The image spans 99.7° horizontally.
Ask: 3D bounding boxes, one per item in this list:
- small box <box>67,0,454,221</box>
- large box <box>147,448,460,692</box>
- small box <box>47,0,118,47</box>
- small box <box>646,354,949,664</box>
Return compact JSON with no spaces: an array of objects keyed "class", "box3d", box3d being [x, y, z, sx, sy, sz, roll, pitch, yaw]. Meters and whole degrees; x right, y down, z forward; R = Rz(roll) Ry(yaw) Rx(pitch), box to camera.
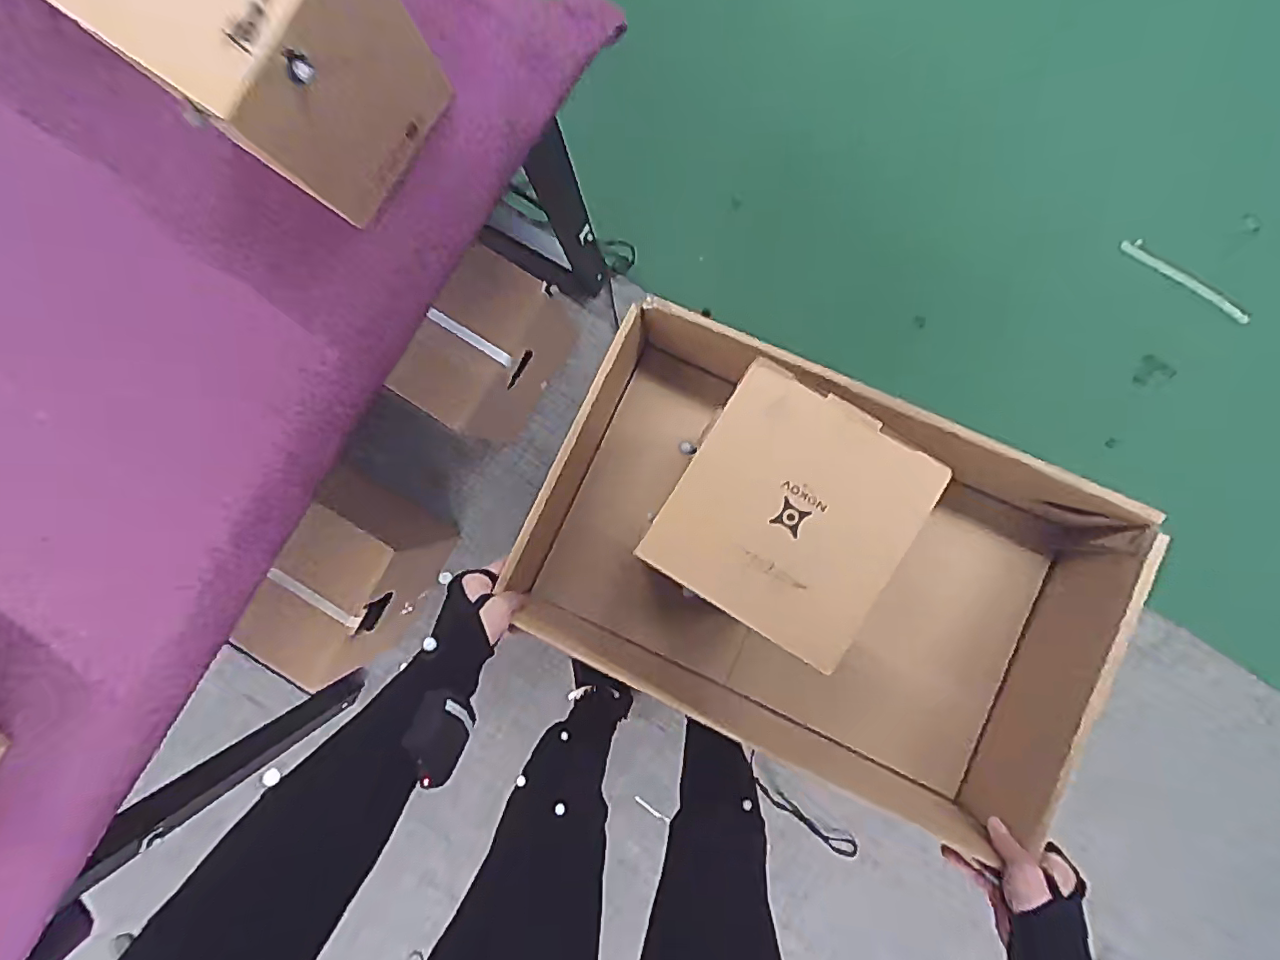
[{"class":"small box","box3d":[-0.302,-0.364,0.468,0.179,0.176,0.168,35,93,6]},{"class":"large box","box3d":[-0.673,0.168,1.148,0.408,0.320,0.320,30,90,5]},{"class":"small box","box3d":[-0.555,-0.551,0.485,0.179,0.176,0.168,34,93,2]},{"class":"small box","box3d":[0.117,0.024,0.477,0.168,0.176,0.179,32,87,4]}]
